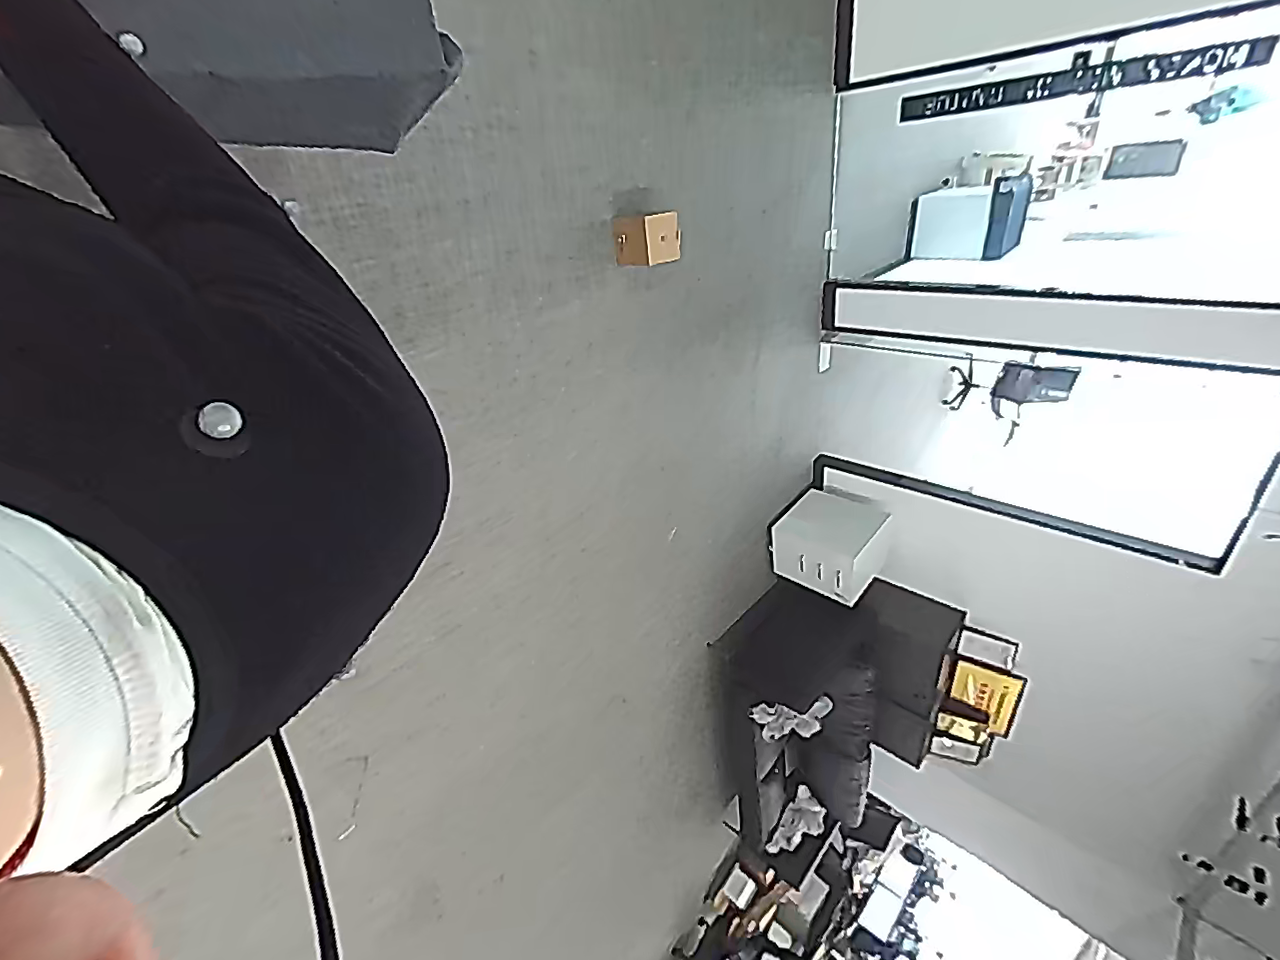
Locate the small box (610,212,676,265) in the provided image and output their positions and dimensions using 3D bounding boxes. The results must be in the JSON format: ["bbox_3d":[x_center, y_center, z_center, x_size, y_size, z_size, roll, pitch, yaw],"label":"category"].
[{"bbox_3d":[0.013,-0.890,1.989,0.179,0.176,0.168,-29,125,-38],"label":"small box"}]
